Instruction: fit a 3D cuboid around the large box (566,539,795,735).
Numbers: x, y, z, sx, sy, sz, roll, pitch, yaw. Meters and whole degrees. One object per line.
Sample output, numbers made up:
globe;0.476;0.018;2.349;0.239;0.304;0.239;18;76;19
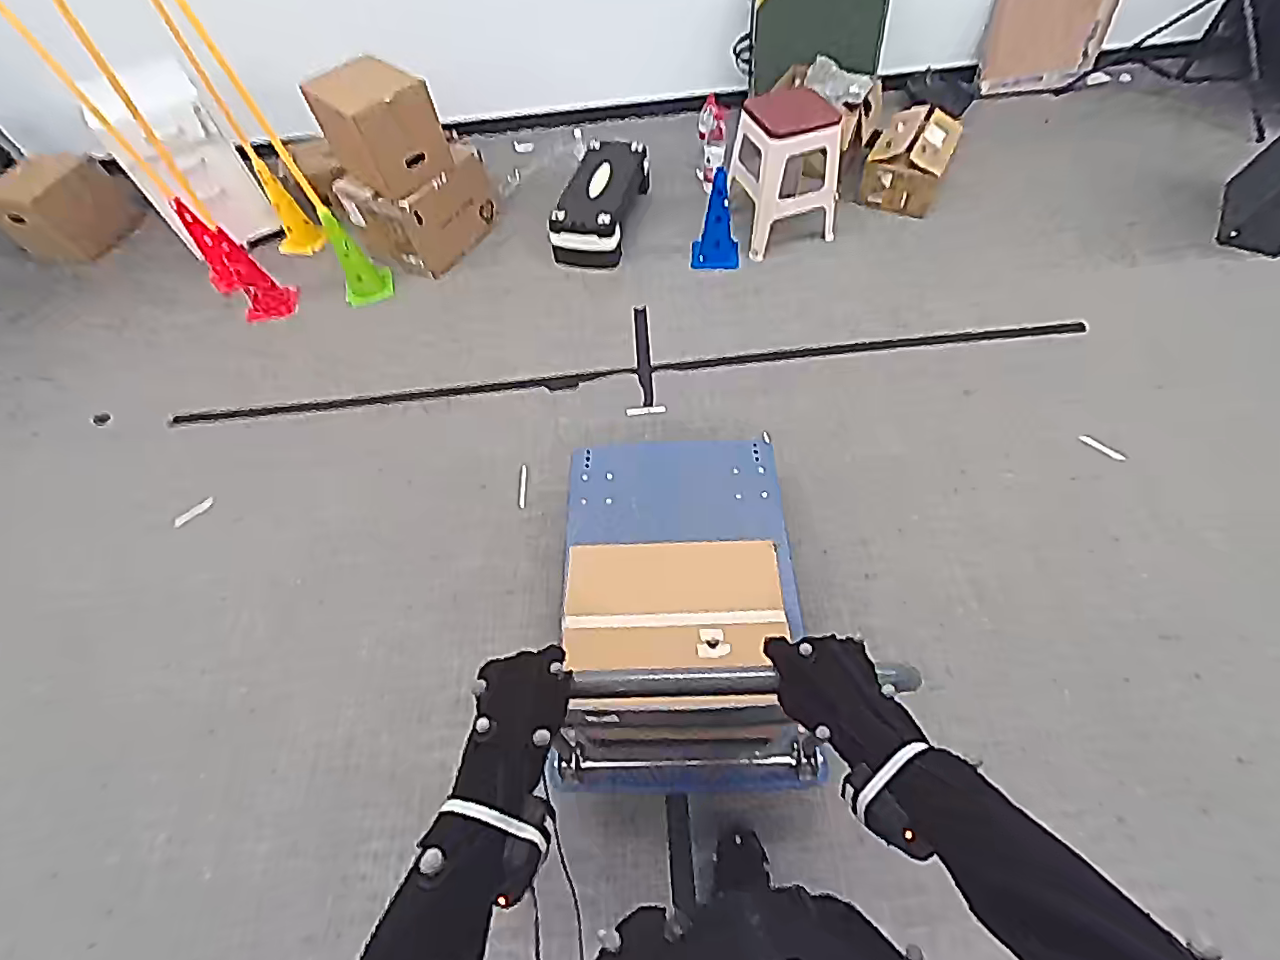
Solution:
large box;0.070;0.336;1.131;0.408;0.320;0.320;-2;57;2
